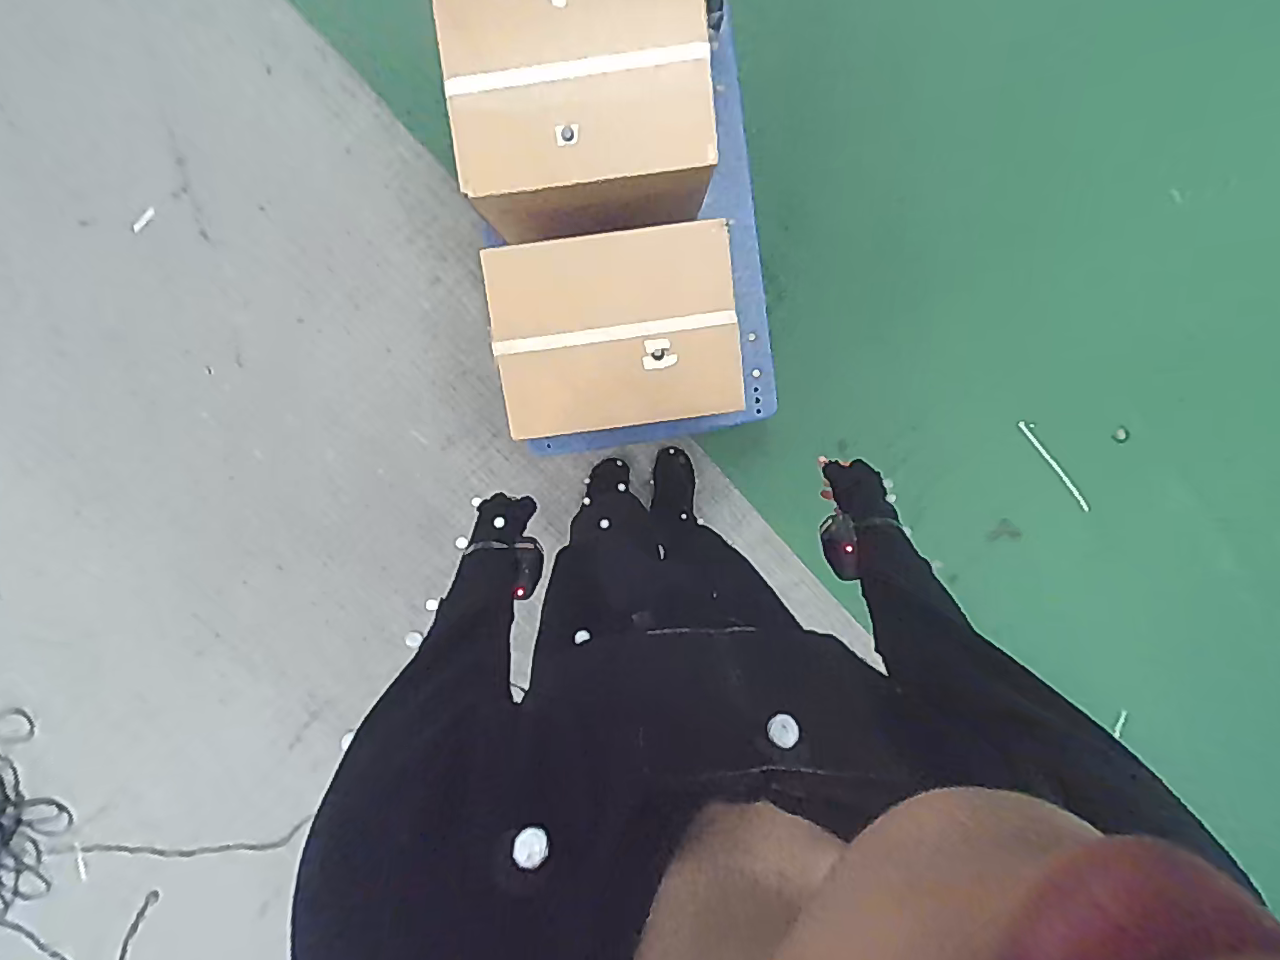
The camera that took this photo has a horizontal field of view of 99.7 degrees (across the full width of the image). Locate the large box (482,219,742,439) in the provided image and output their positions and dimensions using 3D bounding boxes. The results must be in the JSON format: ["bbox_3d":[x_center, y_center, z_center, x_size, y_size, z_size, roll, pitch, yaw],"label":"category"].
[{"bbox_3d":[-0.046,-0.264,1.044,0.408,0.320,0.320,-7,98,0],"label":"large box"}]
